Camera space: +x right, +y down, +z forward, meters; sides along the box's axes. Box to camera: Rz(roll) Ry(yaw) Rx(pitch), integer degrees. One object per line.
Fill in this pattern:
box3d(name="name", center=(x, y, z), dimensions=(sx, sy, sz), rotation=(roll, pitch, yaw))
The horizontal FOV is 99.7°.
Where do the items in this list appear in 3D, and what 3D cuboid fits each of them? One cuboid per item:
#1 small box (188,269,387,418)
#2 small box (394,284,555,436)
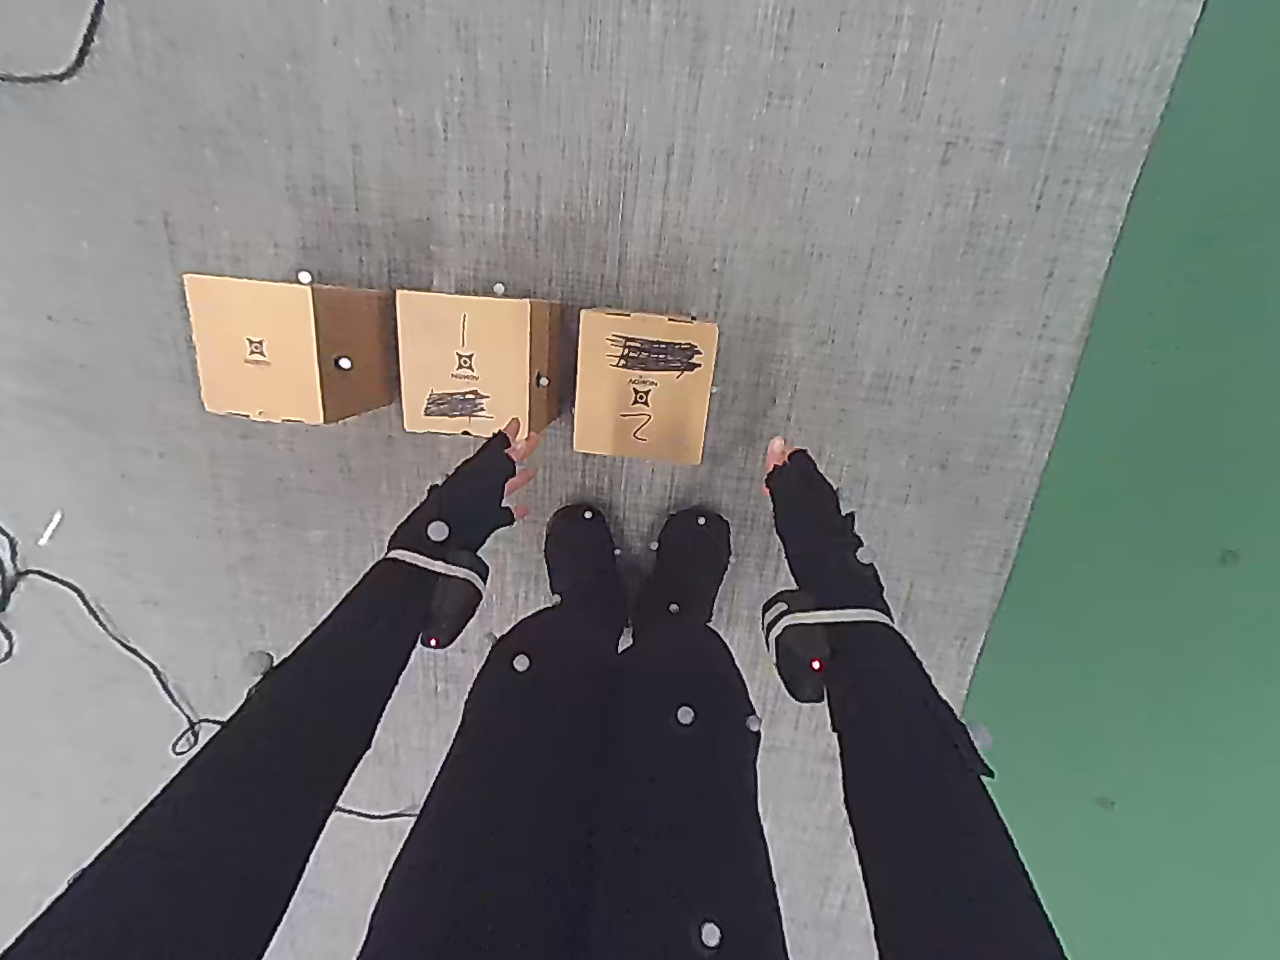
box3d(name="small box", center=(-0.483, -0.196, 0.771), dimensions=(0.168, 0.176, 0.179), rotation=(6, 108, 3))
box3d(name="small box", center=(-0.219, -0.172, 0.753), dimensions=(0.168, 0.176, 0.179), rotation=(6, 107, 3))
